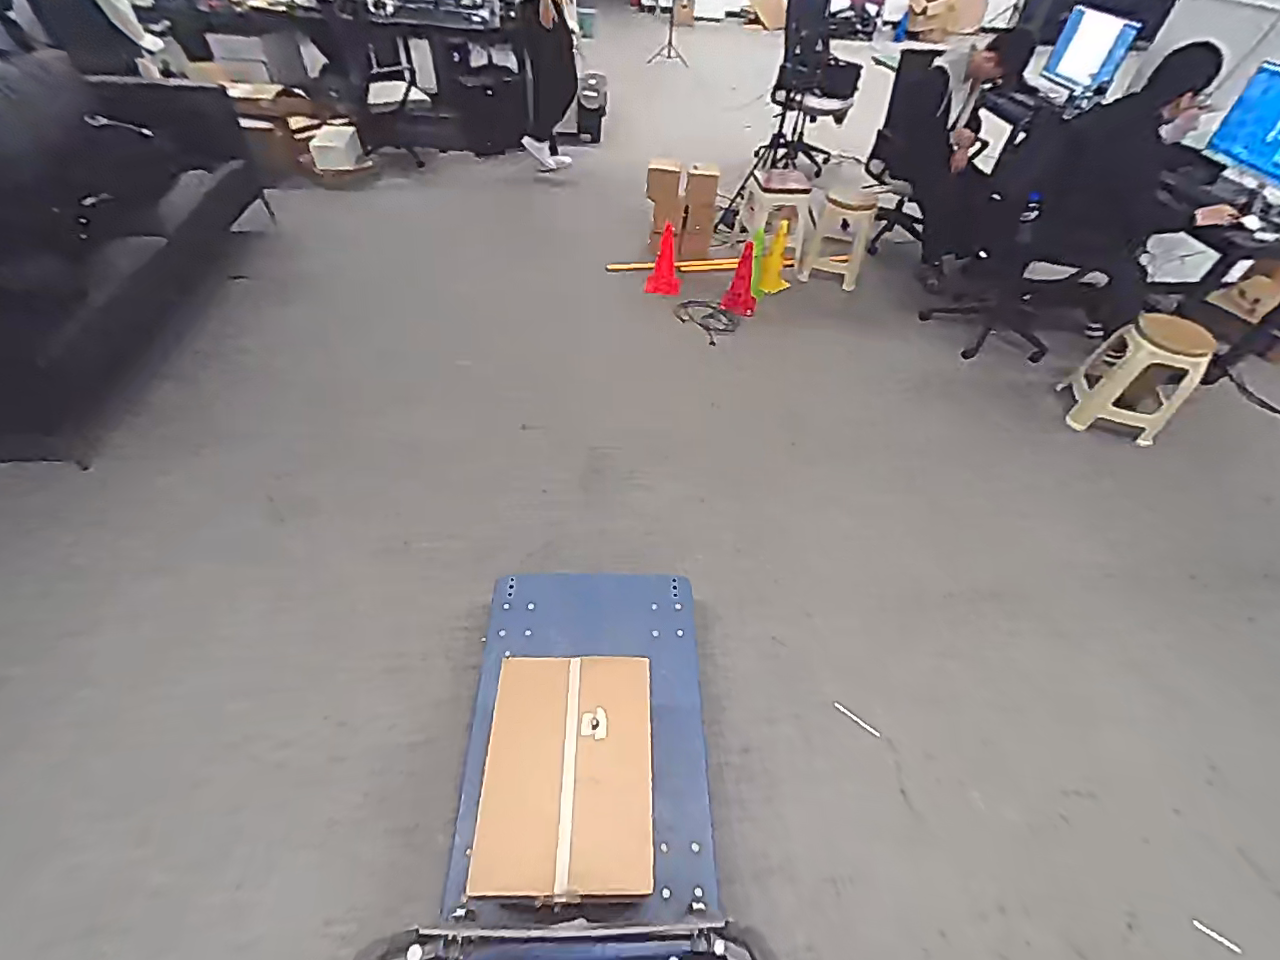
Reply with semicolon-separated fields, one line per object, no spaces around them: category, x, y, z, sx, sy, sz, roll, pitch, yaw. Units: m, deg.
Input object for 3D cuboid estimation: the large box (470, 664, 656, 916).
large box;-0.139;0.641;1.128;0.320;0.320;0.408;1;49;-3
